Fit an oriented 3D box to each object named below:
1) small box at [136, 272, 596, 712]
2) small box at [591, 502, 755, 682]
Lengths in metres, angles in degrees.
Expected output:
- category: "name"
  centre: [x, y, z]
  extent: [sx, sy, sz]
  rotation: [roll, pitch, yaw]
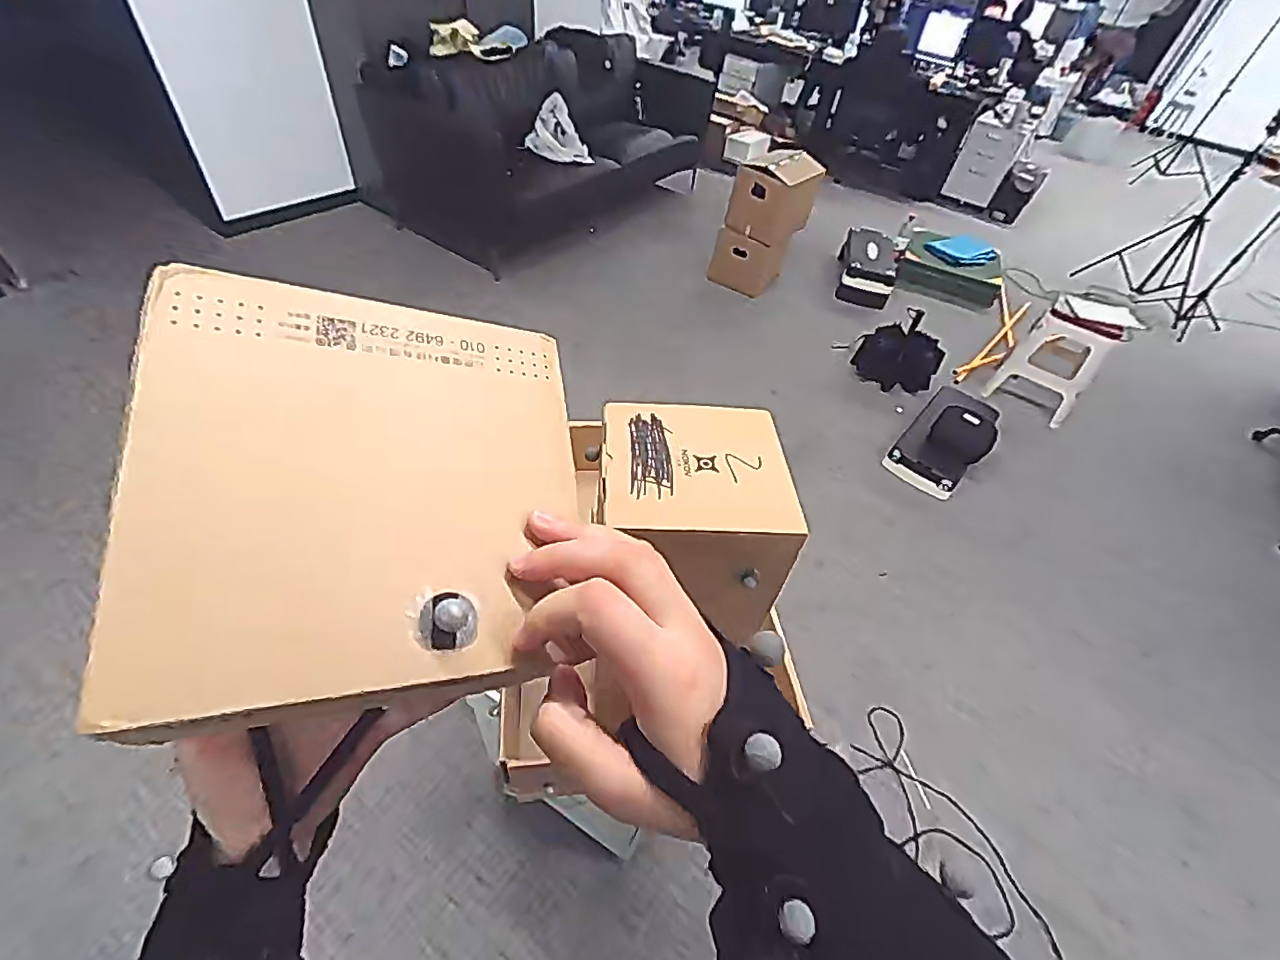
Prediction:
- category: "small box"
  centre: [-0.142, 0.023, 0.299]
  extent: [0.168, 0.179, 0.176]
  rotation: [3, 67, -33]
- category: "small box"
  centre: [0.028, 0.144, 0.695]
  extent: [0.179, 0.176, 0.168]
  rotation: [-1, 46, -7]
